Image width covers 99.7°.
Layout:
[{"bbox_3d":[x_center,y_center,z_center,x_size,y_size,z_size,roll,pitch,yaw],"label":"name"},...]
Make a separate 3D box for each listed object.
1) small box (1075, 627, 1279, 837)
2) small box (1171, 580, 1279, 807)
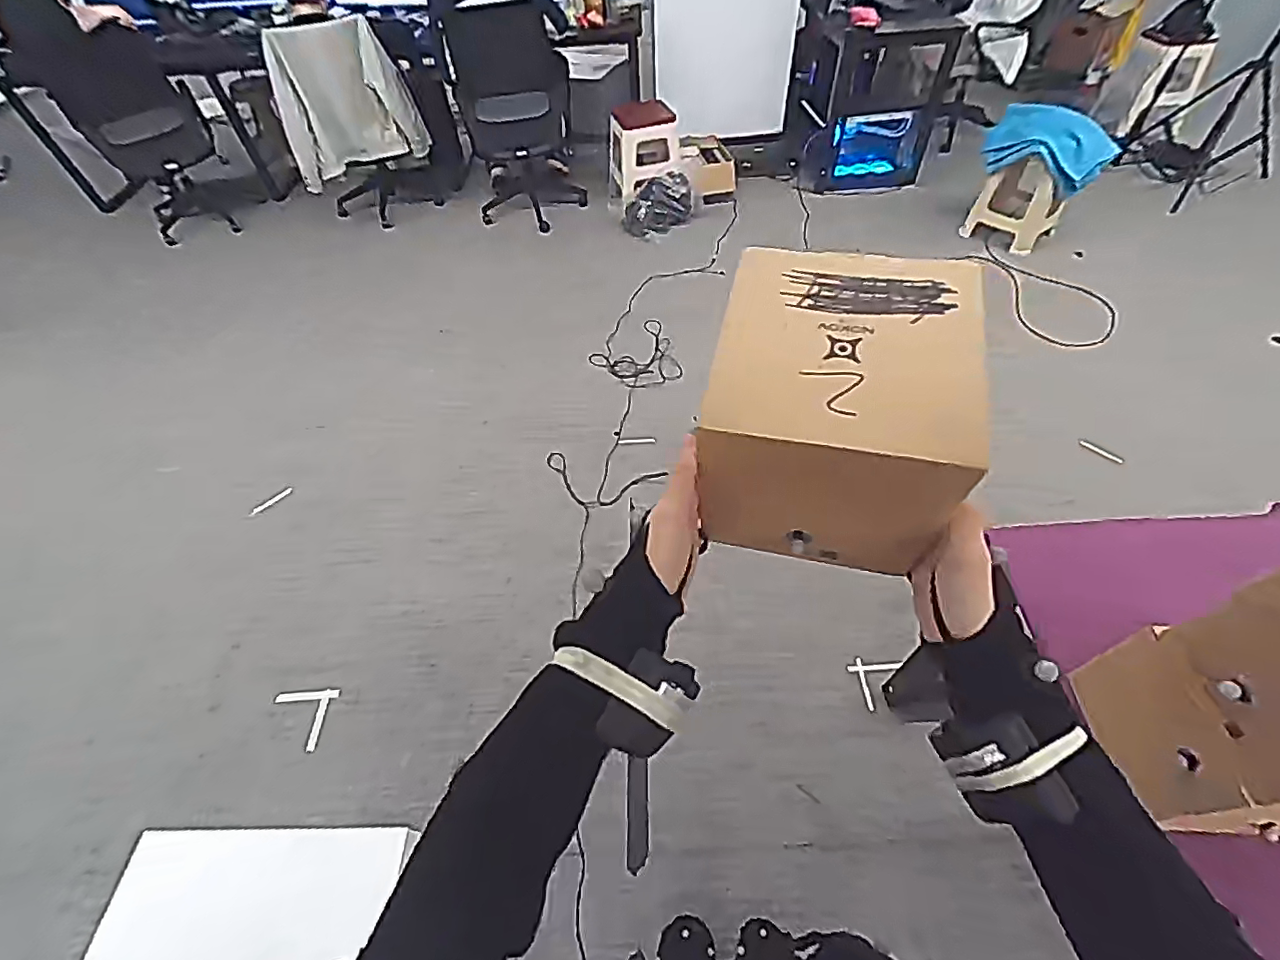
[{"bbox_3d":[0.637,0.278,0.590,0.168,0.176,0.179,1,51,4],"label":"small box"},{"bbox_3d":[0.636,0.178,0.459,0.179,0.176,0.168,-1,52,5],"label":"small box"}]
